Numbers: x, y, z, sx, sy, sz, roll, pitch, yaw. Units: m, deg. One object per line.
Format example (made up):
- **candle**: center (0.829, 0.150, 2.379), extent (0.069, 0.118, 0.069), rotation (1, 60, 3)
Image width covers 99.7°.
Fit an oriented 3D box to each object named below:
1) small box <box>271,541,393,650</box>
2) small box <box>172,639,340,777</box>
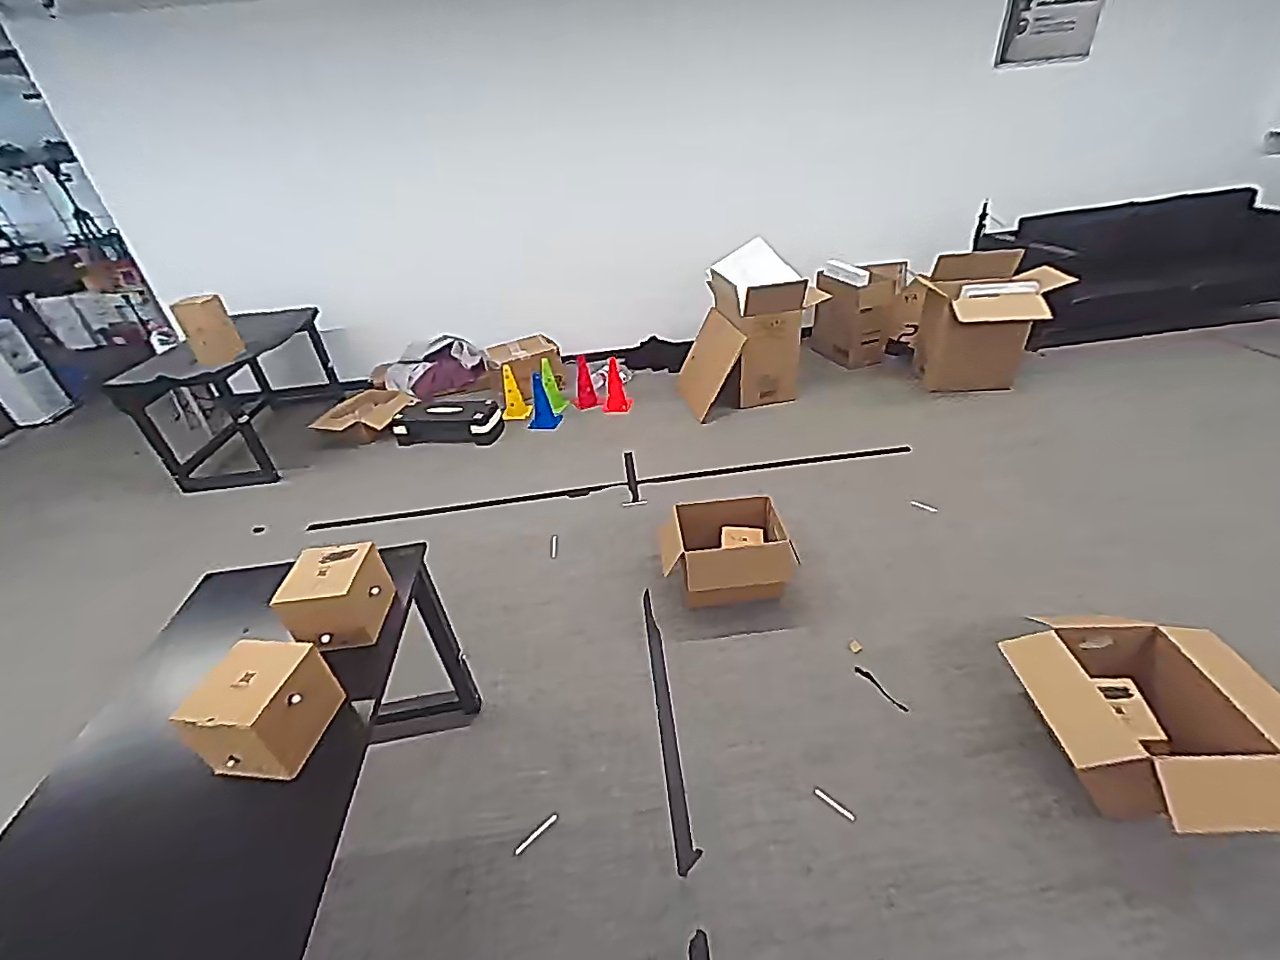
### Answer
- **small box**: center (-0.698, 0.268, 1.253), extent (0.168, 0.176, 0.179), rotation (-7, 35, 0)
- **small box**: center (-0.705, 0.427, 1.023), extent (0.168, 0.176, 0.179), rotation (-1, 35, 9)
